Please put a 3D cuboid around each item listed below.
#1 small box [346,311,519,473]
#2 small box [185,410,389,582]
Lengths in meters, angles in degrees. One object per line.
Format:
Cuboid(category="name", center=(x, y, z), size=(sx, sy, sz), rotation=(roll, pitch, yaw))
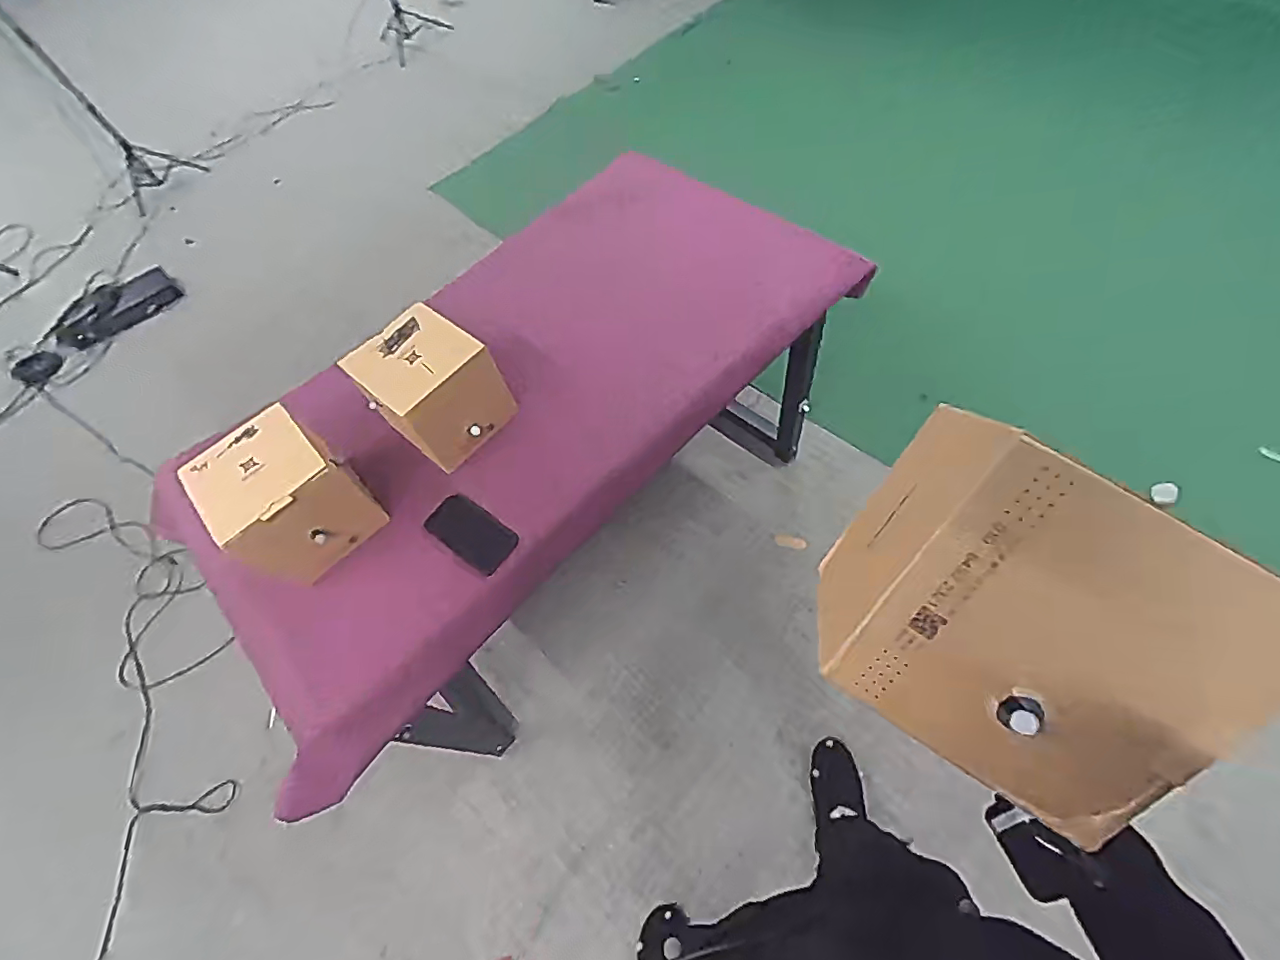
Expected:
Cuboid(category="small box", center=(-0.334, -0.141, 0.898), size=(0.179, 0.176, 0.168), rotation=(35, 71, 25))
Cuboid(category="small box", center=(-0.524, 0.034, 0.825), size=(0.168, 0.176, 0.179), rotation=(-42, 63, -15))
